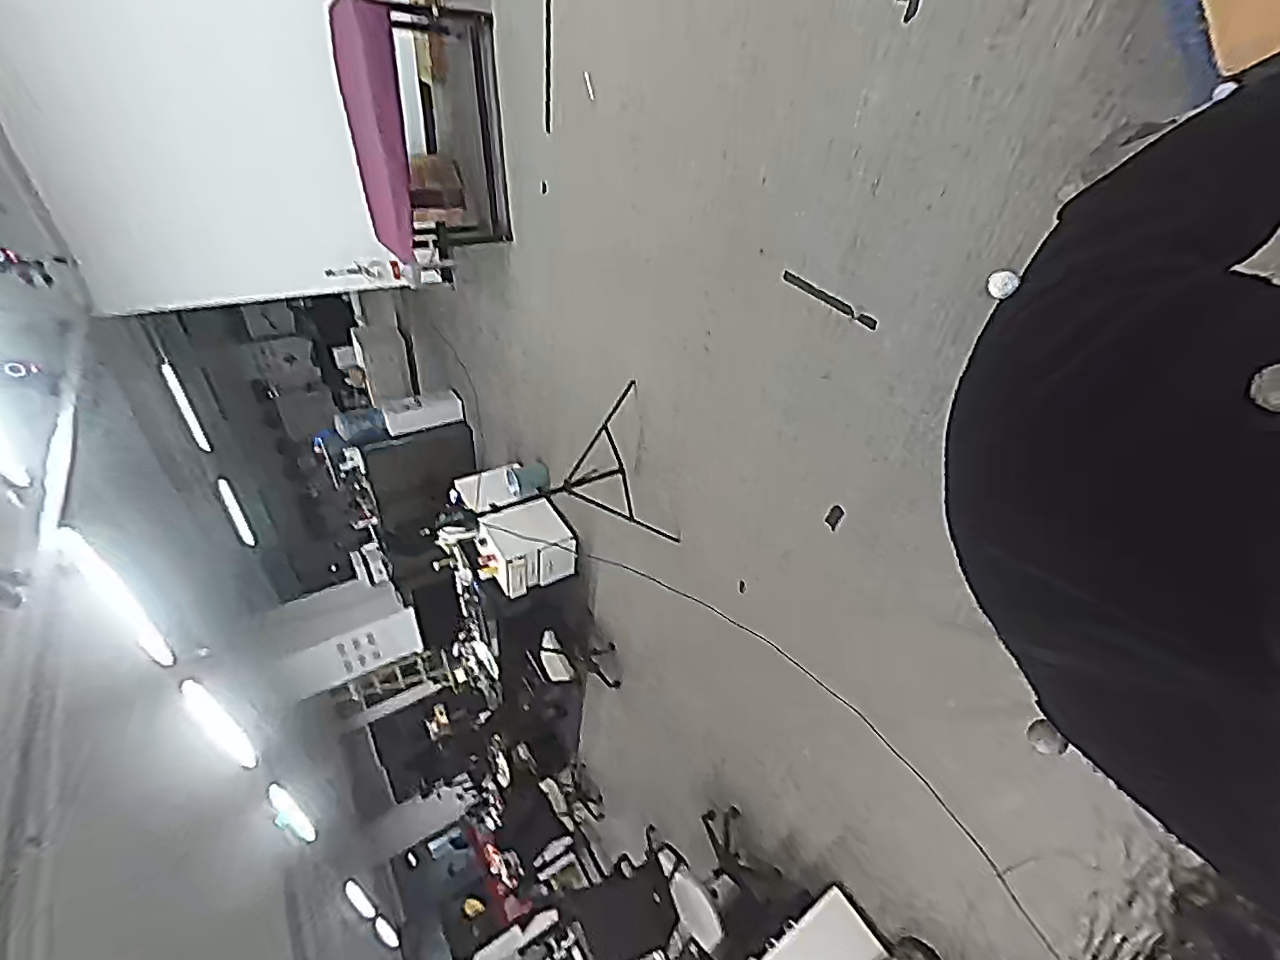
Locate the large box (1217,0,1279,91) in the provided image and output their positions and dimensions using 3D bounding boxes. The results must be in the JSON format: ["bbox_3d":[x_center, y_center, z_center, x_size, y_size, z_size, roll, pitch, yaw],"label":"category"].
[{"bbox_3d":[0.889,-0.691,0.548,0.408,0.320,0.320,-12,97,59],"label":"large box"}]
